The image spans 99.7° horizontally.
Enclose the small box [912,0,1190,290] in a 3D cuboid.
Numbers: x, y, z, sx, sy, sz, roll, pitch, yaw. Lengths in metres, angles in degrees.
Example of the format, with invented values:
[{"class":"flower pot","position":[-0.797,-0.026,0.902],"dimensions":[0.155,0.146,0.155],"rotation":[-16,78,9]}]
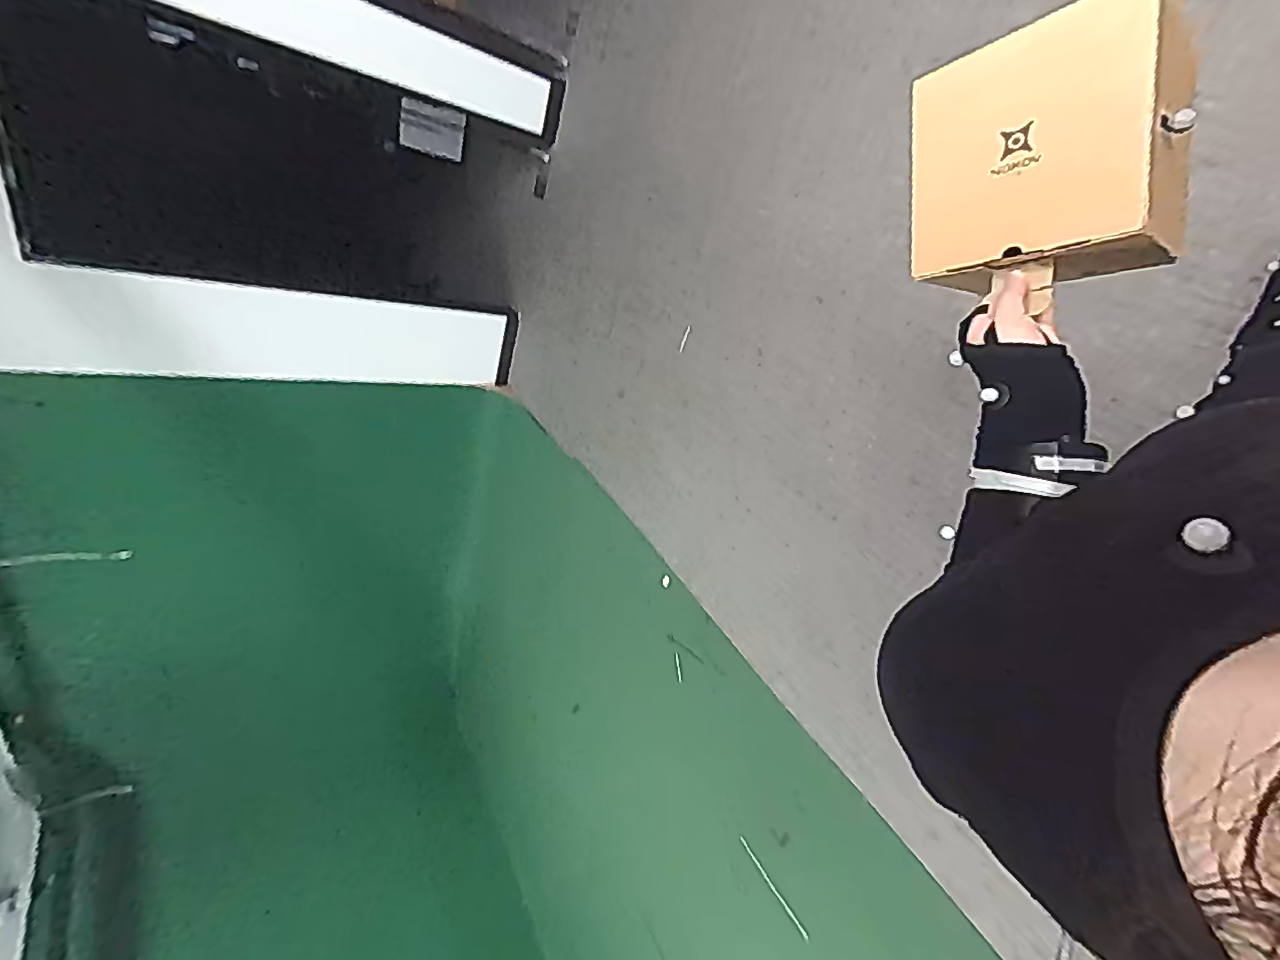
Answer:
[{"class":"small box","position":[0.370,-0.283,0.491],"dimensions":[0.168,0.176,0.179],"rotation":[7,104,50]}]
